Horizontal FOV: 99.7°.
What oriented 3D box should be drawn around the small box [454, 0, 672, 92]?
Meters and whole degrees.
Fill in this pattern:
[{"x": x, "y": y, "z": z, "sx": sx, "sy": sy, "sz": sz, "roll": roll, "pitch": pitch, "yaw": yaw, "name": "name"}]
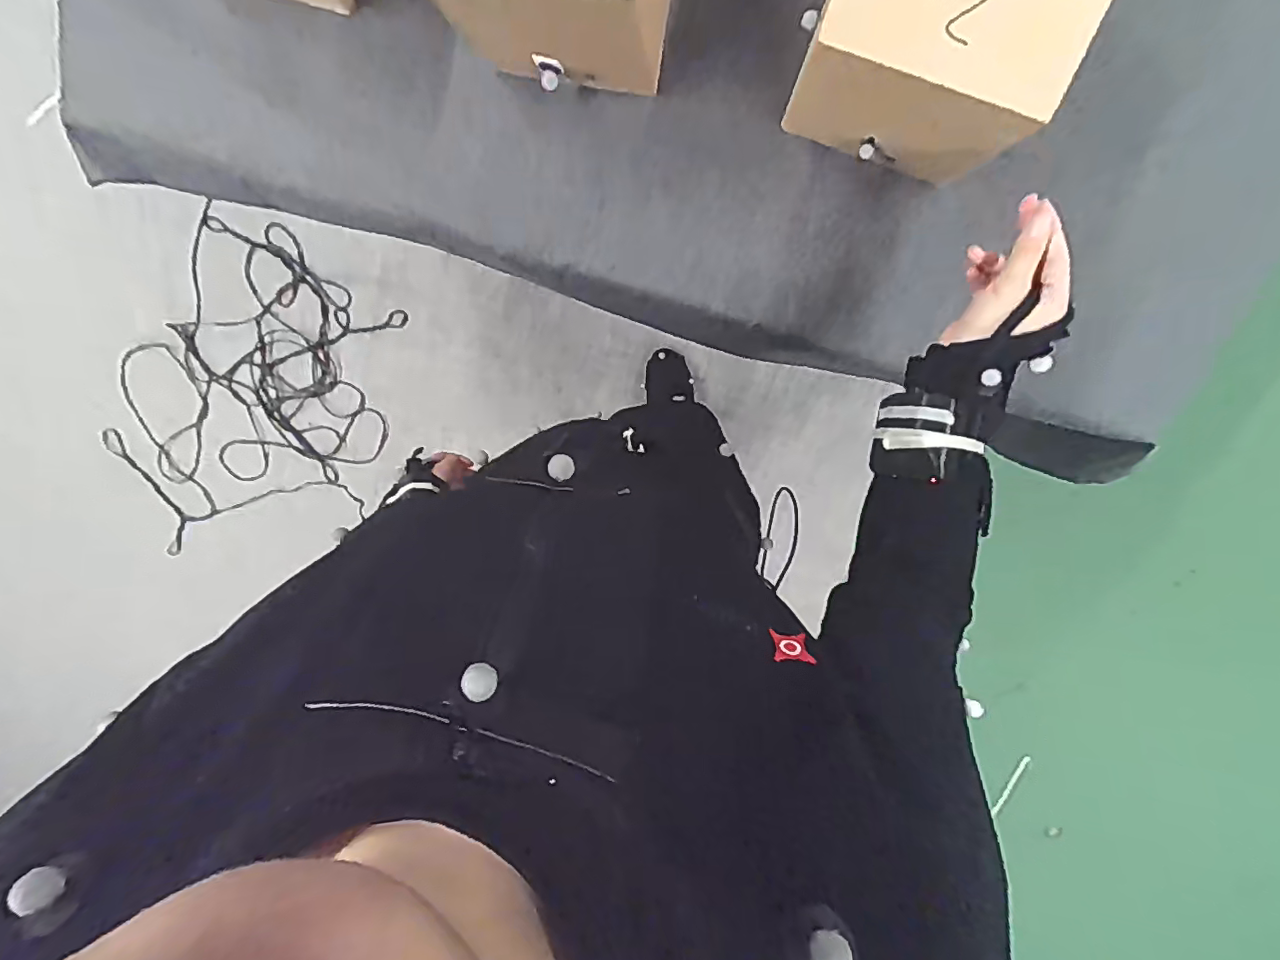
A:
[{"x": -0.059, "y": -0.442, "z": 0.417, "sx": 0.168, "sy": 0.176, "sz": 0.179, "roll": 10, "pitch": 107, "yaw": 5, "name": "small box"}]
